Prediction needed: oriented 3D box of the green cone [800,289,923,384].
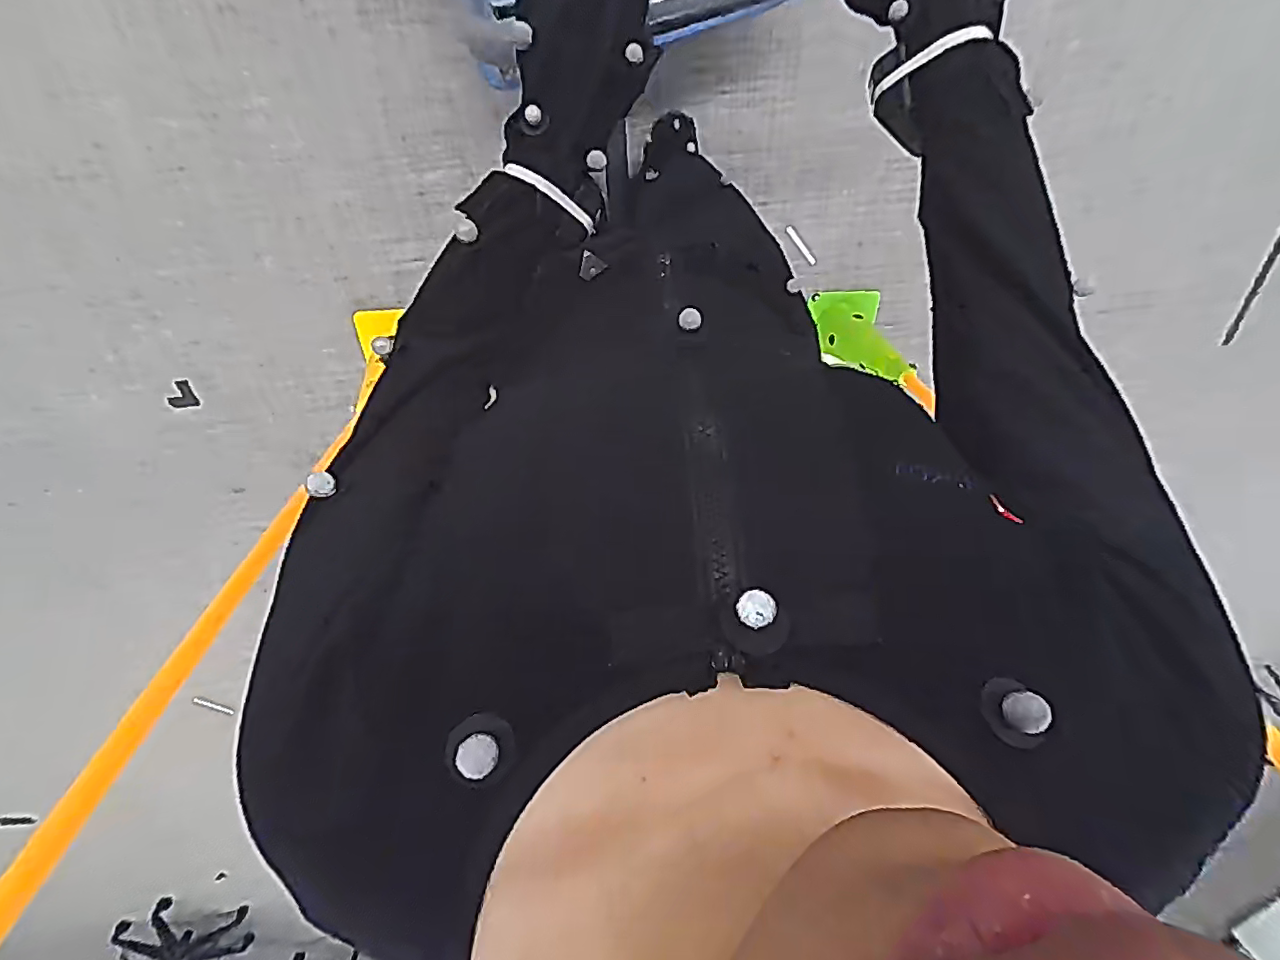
[{"bbox_3d":[0.565,-0.320,1.324,0.202,0.368,0.200,-5,124,-7],"label":"green cone"}]
